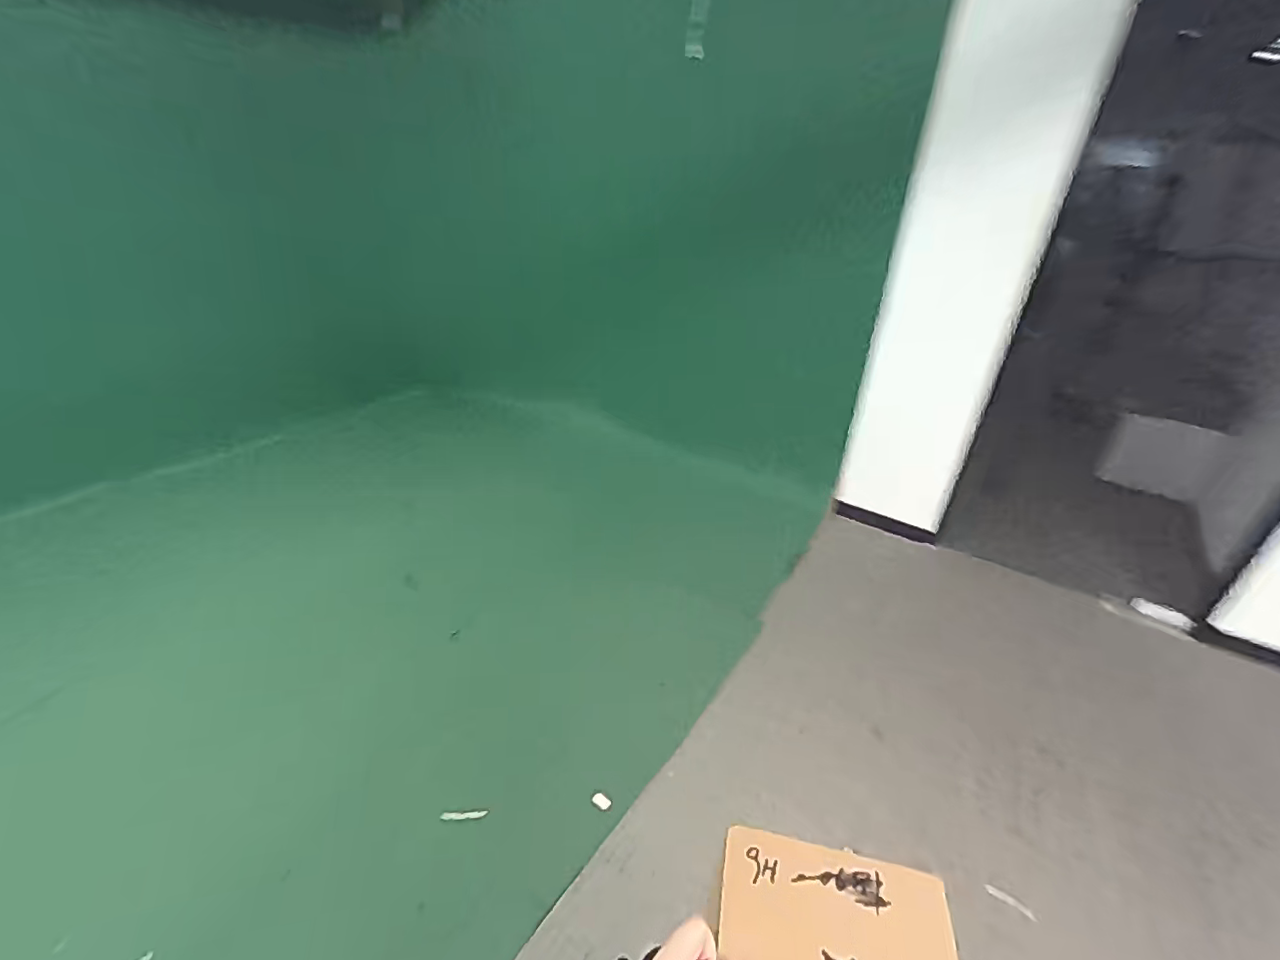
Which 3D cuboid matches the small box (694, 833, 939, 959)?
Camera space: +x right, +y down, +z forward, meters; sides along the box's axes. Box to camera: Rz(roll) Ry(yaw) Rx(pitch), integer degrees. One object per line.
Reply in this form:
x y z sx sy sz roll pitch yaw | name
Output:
0.123 0.417 0.417 0.168 0.176 0.179 9 40 9 | small box
